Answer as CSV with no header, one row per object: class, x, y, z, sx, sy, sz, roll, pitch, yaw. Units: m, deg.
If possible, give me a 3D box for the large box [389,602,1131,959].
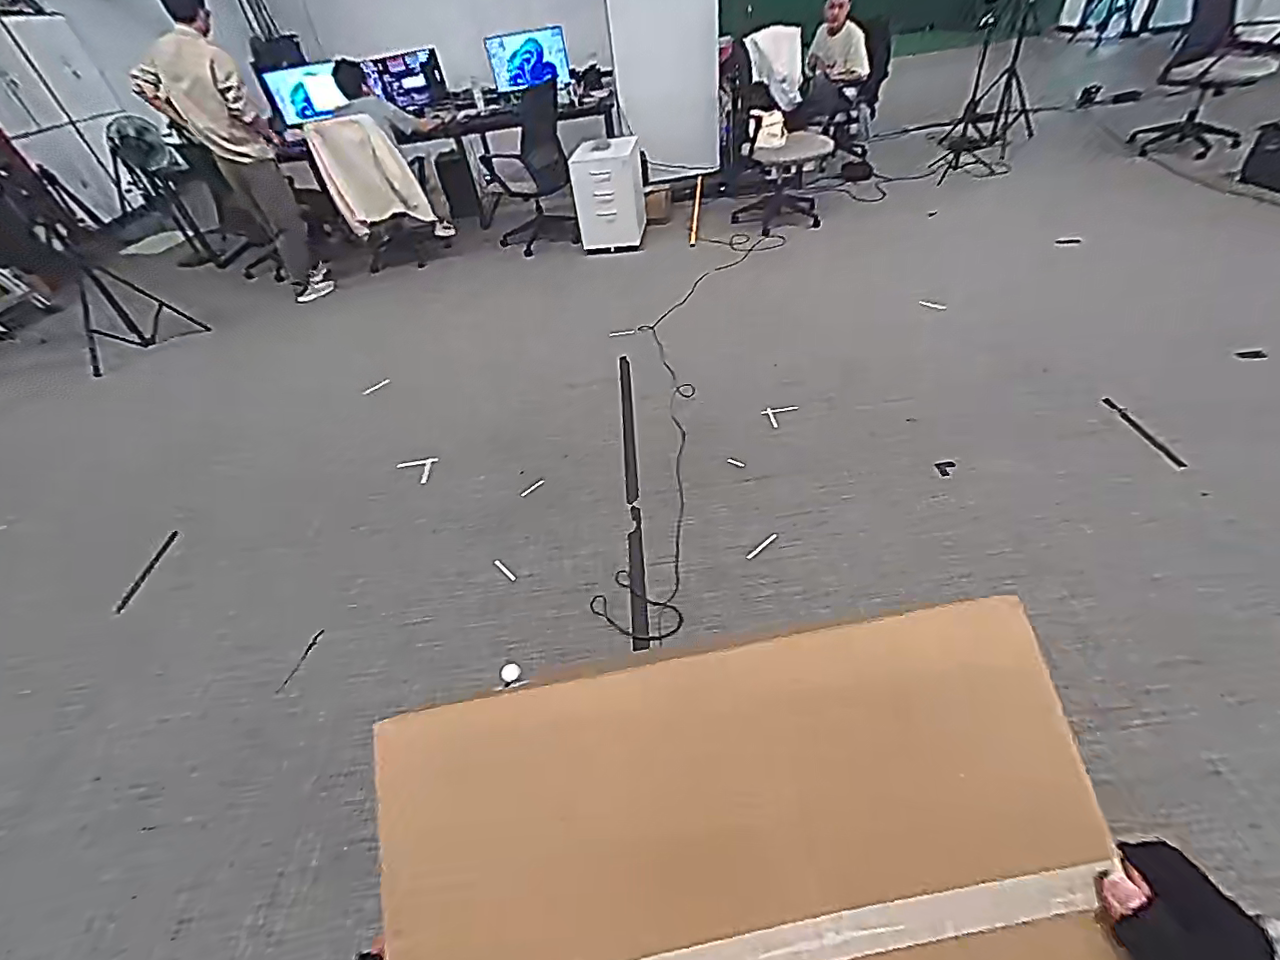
large box,0.069,0.304,0.446,0.408,0.320,0.320,-12,75,-1
